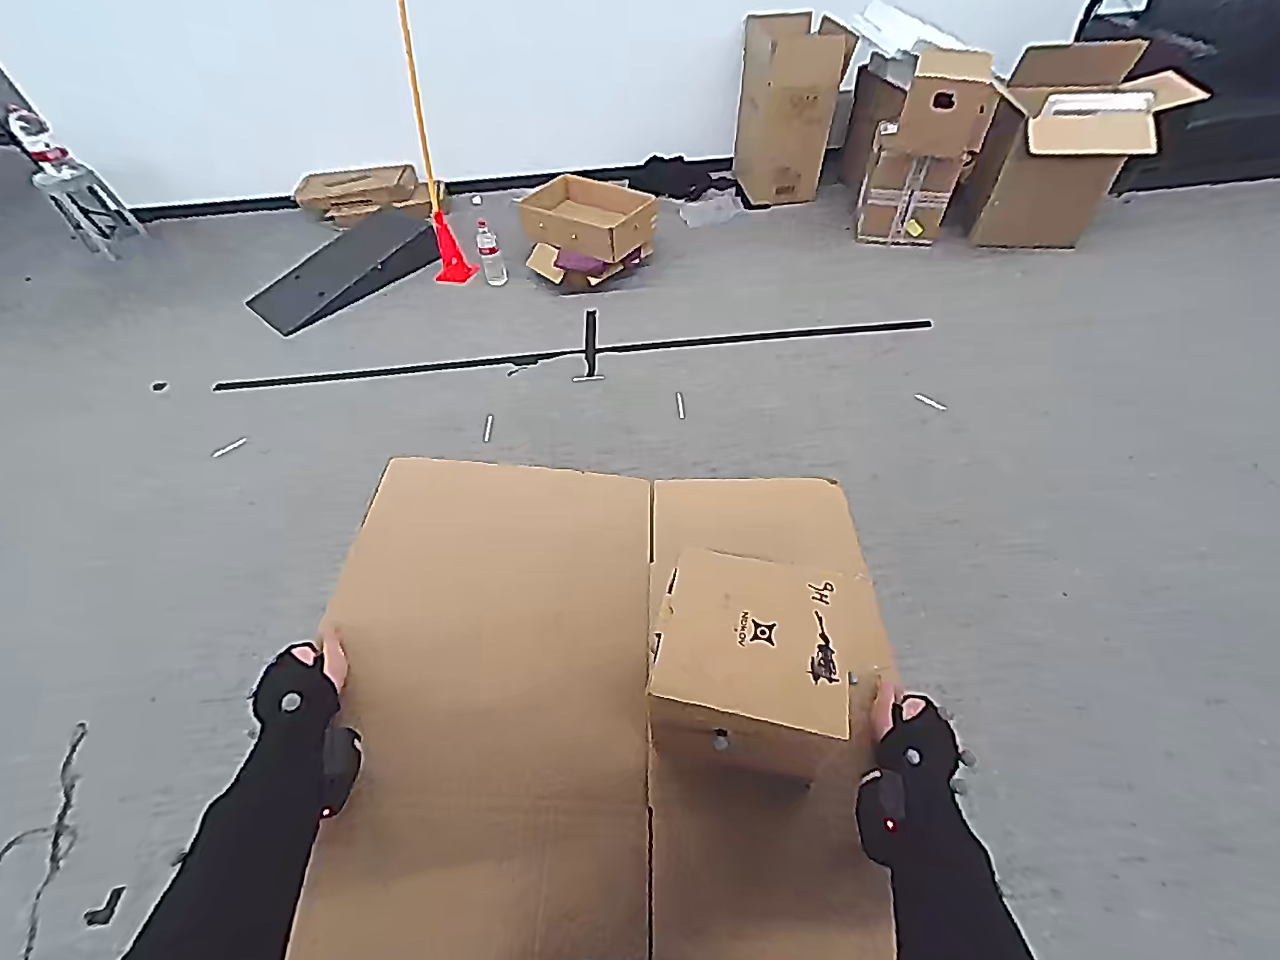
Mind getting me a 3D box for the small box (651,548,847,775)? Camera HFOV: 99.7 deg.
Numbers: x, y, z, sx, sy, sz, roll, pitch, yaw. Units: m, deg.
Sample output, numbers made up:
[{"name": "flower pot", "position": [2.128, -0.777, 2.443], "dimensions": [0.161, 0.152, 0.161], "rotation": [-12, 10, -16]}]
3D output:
[{"name": "small box", "position": [0.118, 0.198, 0.586], "dimensions": [0.179, 0.176, 0.168], "rotation": [8, 50, 12]}]
